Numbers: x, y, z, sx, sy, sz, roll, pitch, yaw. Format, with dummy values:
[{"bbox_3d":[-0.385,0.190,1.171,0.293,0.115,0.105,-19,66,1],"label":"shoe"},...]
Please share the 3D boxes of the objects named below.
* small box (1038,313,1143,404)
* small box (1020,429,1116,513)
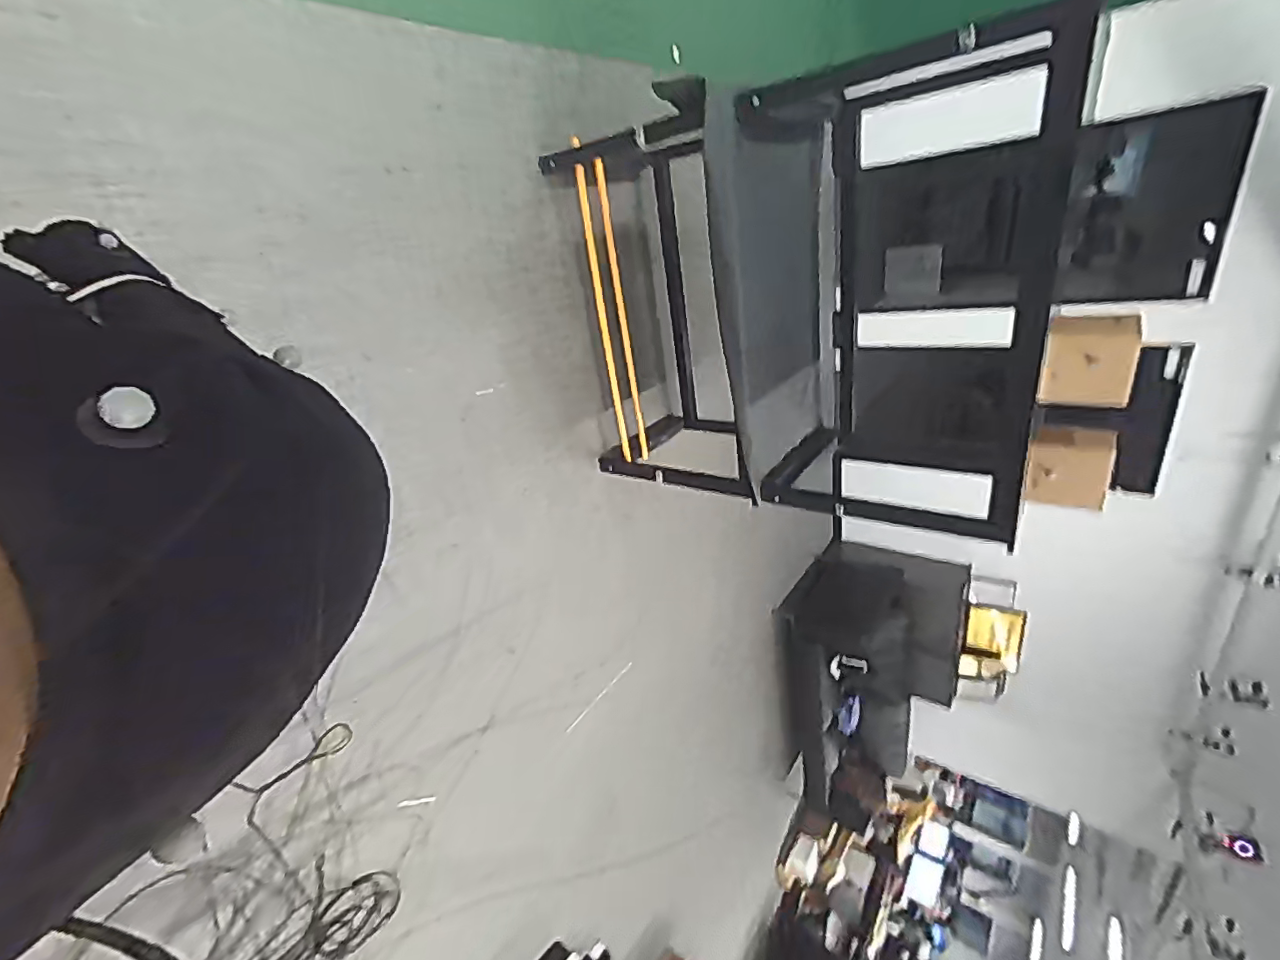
[{"bbox_3d":[1.073,-0.292,1.296,0.179,0.176,0.168,-41,129,-41],"label":"small box"},{"bbox_3d":[1.121,-0.032,1.422,0.179,0.176,0.168,-28,120,-45],"label":"small box"}]
